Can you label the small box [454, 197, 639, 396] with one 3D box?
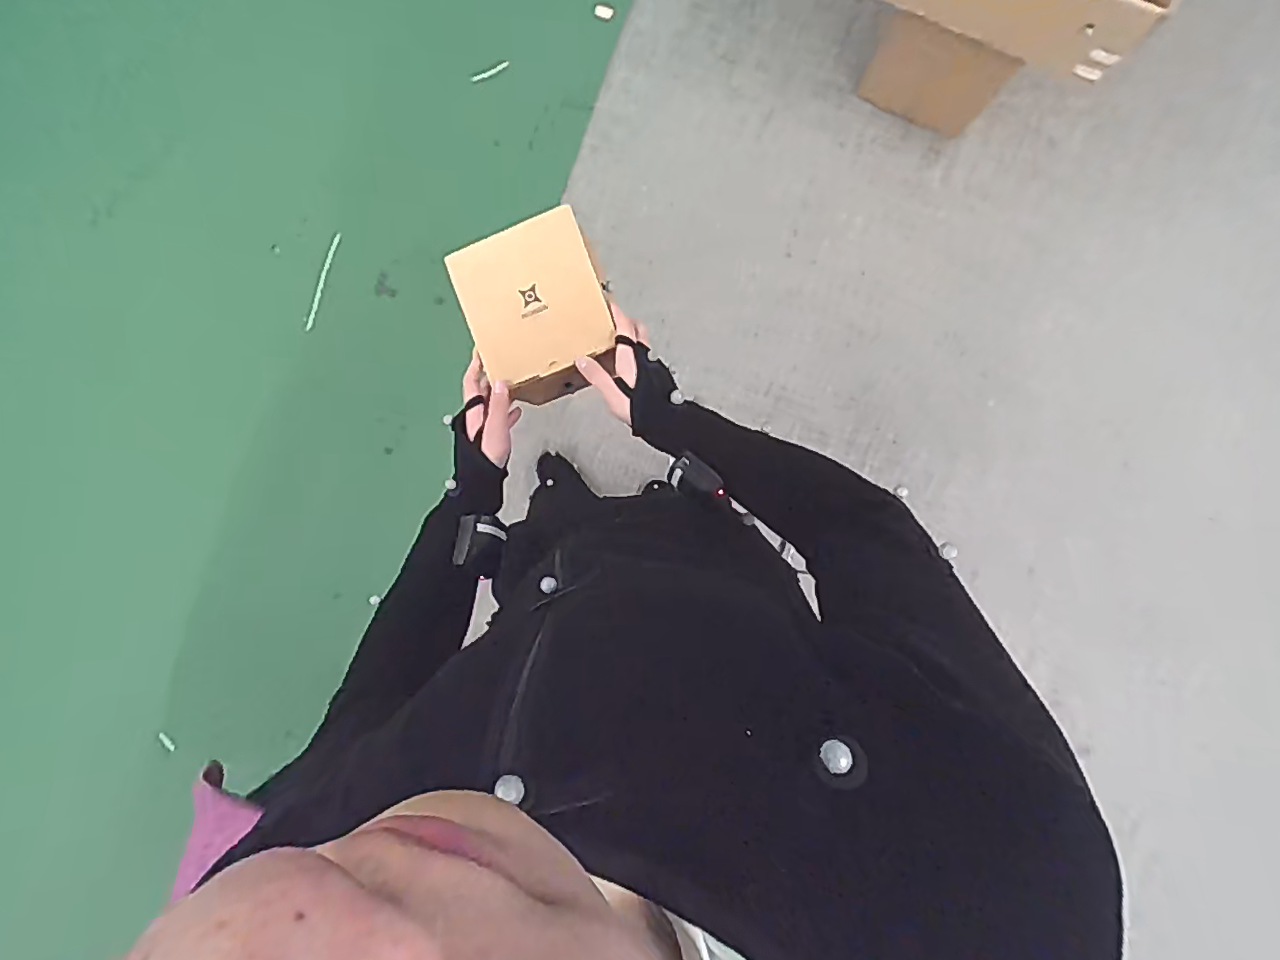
[{"bbox_3d":[-0.107,-0.221,0.701,0.168,0.176,0.179,-19,93,6],"label":"small box"}]
